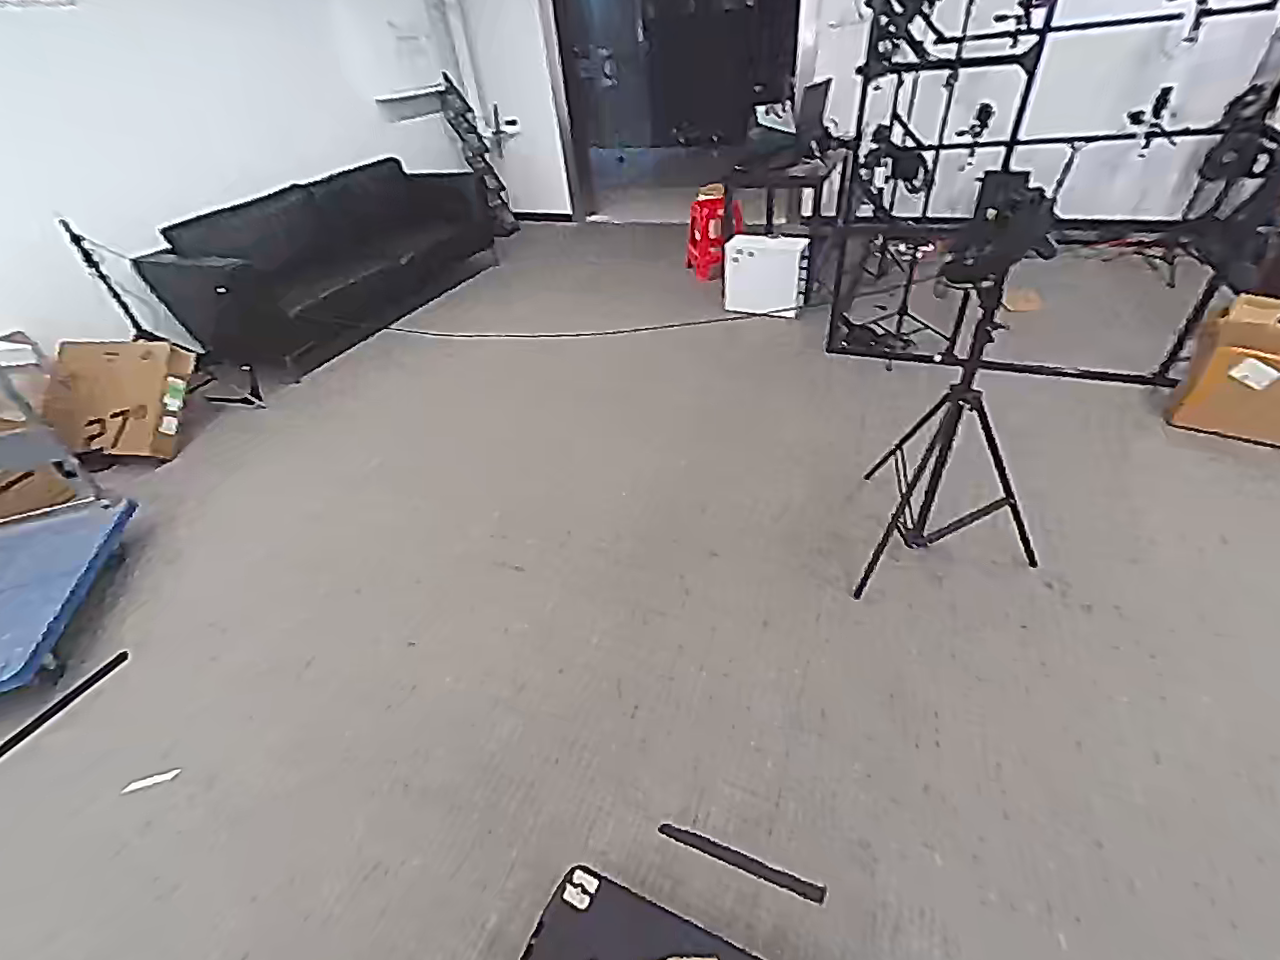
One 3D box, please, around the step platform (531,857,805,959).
[{"bbox_3d":[0.134,0.933,0.901,0.684,0.204,0.286,11,41,22],"label":"step platform"}]
